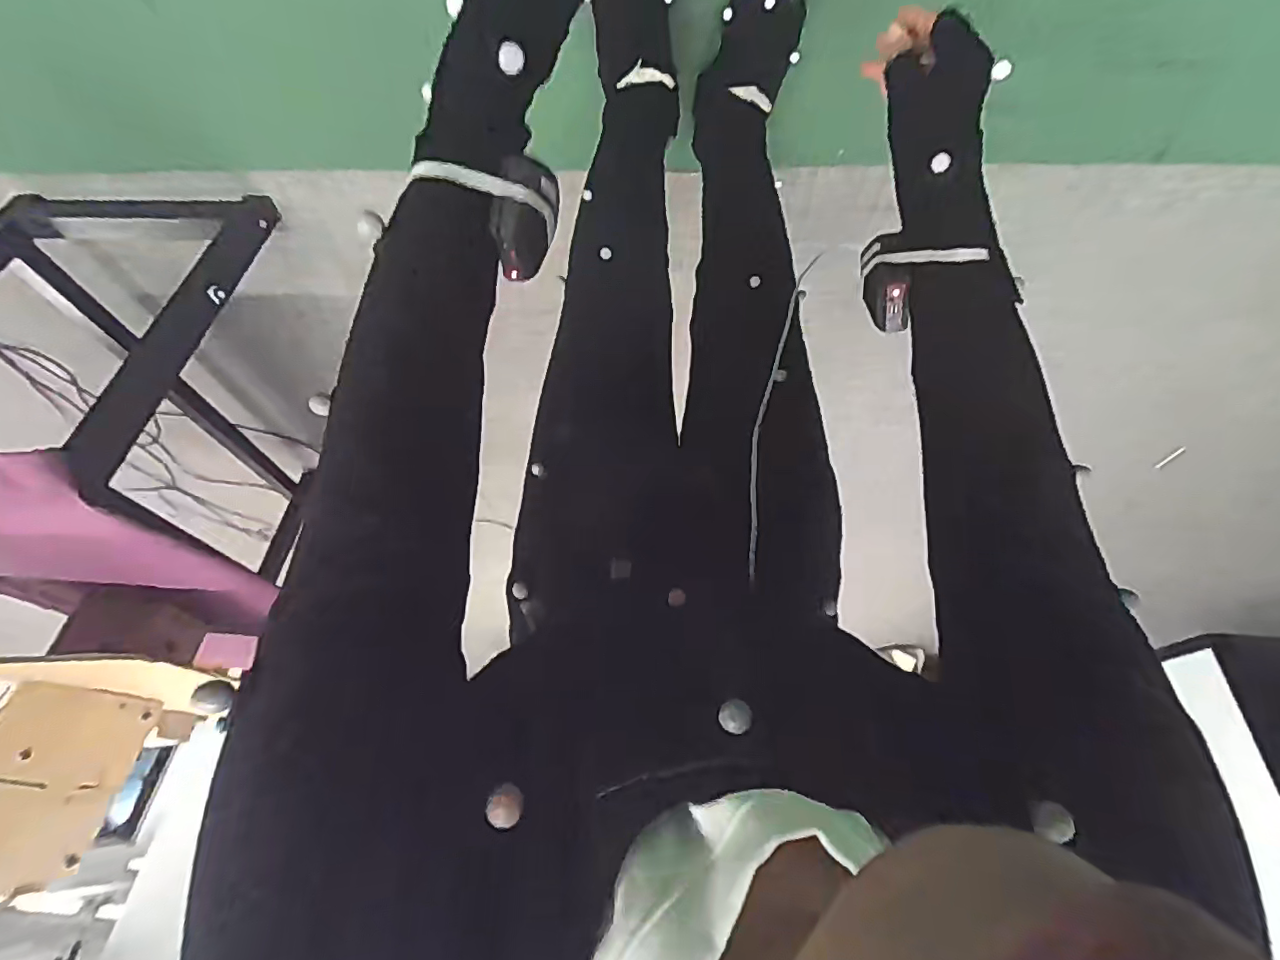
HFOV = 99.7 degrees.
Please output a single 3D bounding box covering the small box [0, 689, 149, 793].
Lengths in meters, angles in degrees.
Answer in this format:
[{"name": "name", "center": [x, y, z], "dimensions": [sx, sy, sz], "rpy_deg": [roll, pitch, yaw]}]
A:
[{"name": "small box", "center": [-1.130, 0.513, 1.064], "dimensions": [0.179, 0.176, 0.168], "rpy_deg": [2, 149, 4]}]
